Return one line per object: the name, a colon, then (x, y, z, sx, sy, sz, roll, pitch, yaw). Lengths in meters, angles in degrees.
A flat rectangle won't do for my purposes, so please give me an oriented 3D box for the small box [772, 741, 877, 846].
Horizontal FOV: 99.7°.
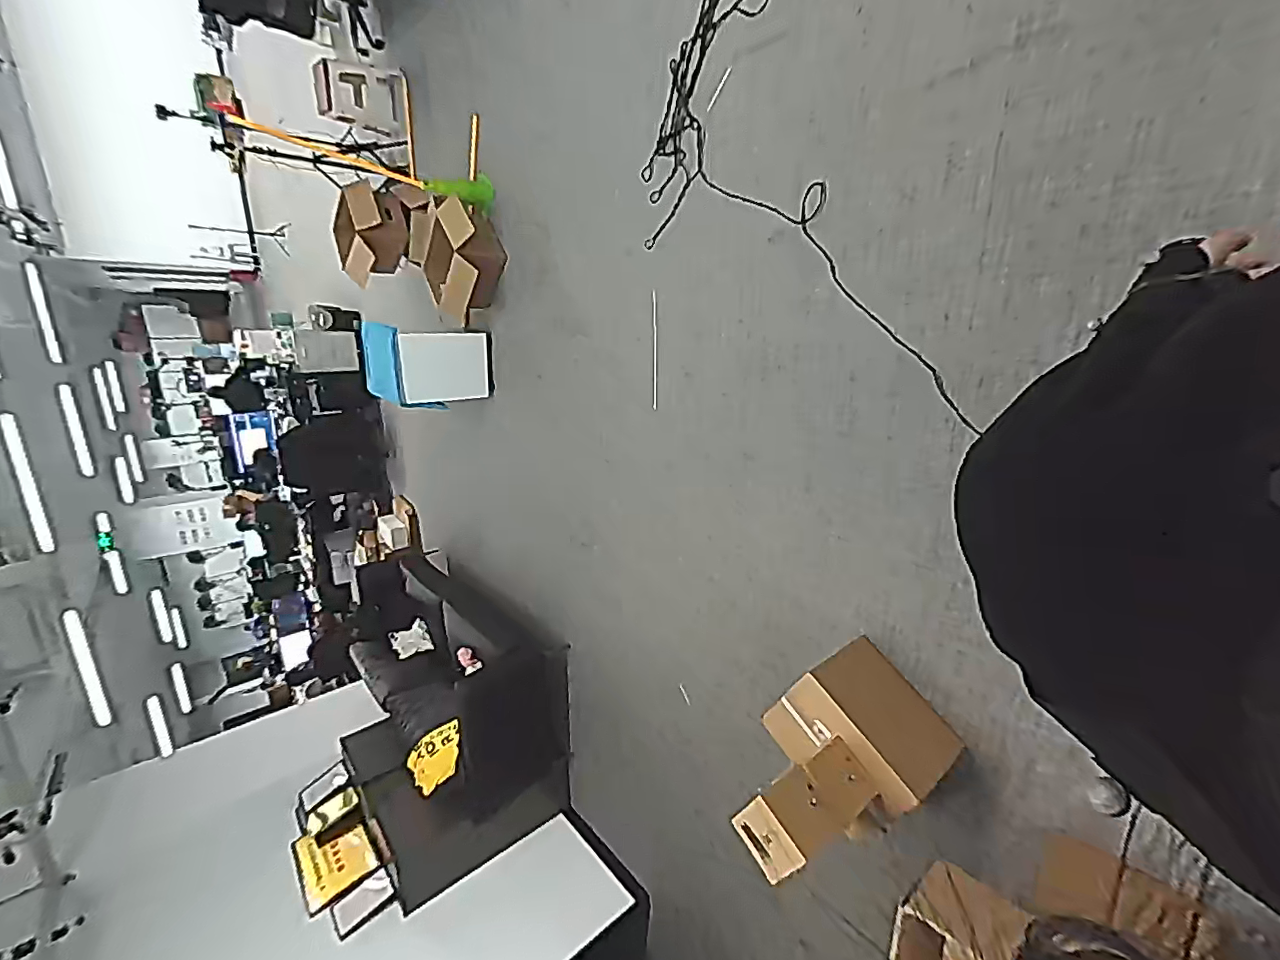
small box: (0.502, 0.847, 1.468, 0.168, 0.176, 0.179, 54, 136, 28)
